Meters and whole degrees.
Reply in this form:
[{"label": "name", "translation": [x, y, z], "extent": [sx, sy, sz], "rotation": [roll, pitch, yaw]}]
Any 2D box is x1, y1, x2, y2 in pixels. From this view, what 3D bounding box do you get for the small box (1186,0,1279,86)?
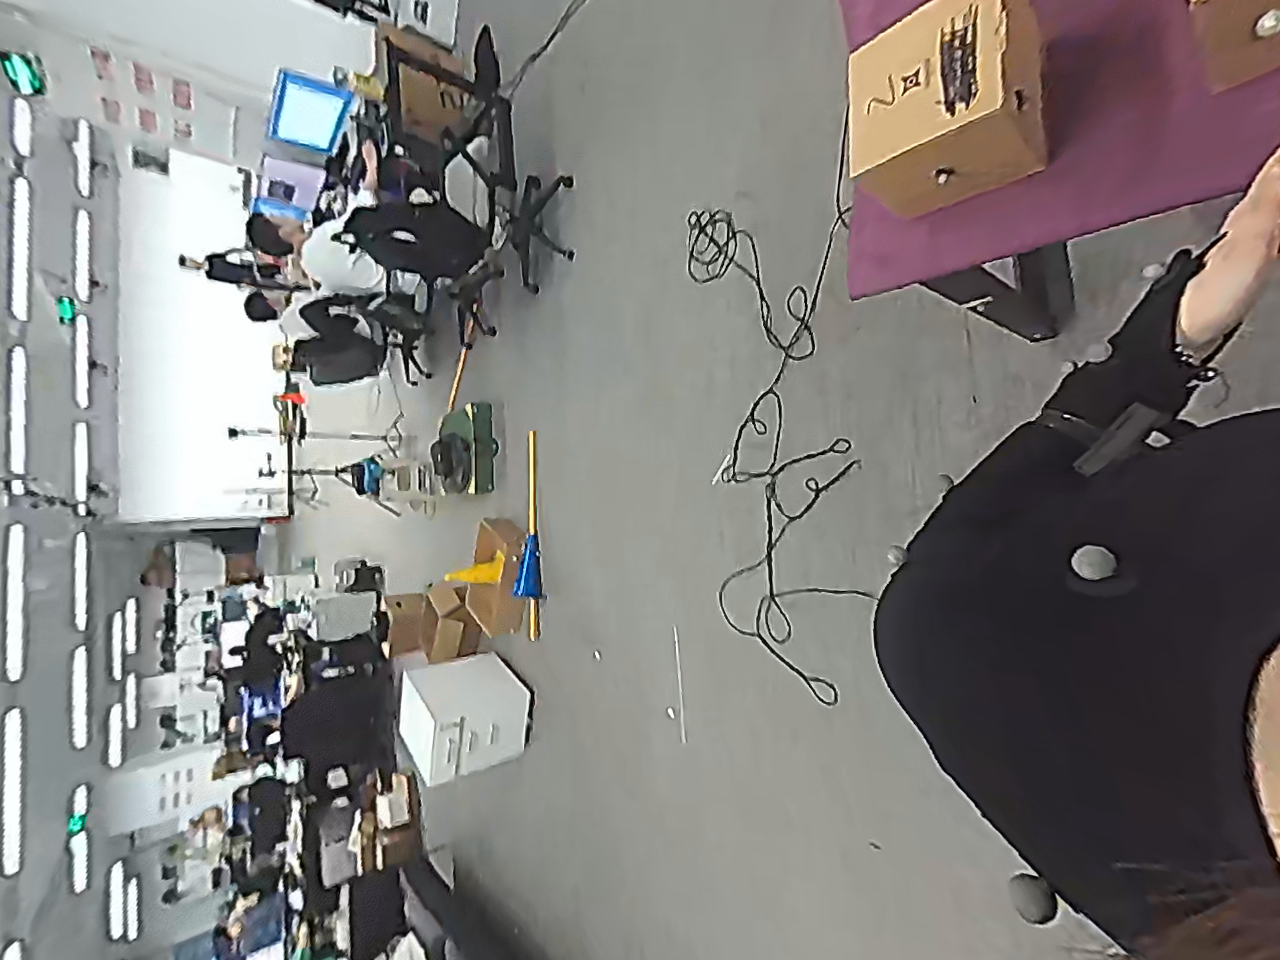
[{"label": "small box", "translation": [0.580, -0.499, 0.461], "extent": [0.168, 0.176, 0.179], "rotation": [-11, 81, 50]}]
